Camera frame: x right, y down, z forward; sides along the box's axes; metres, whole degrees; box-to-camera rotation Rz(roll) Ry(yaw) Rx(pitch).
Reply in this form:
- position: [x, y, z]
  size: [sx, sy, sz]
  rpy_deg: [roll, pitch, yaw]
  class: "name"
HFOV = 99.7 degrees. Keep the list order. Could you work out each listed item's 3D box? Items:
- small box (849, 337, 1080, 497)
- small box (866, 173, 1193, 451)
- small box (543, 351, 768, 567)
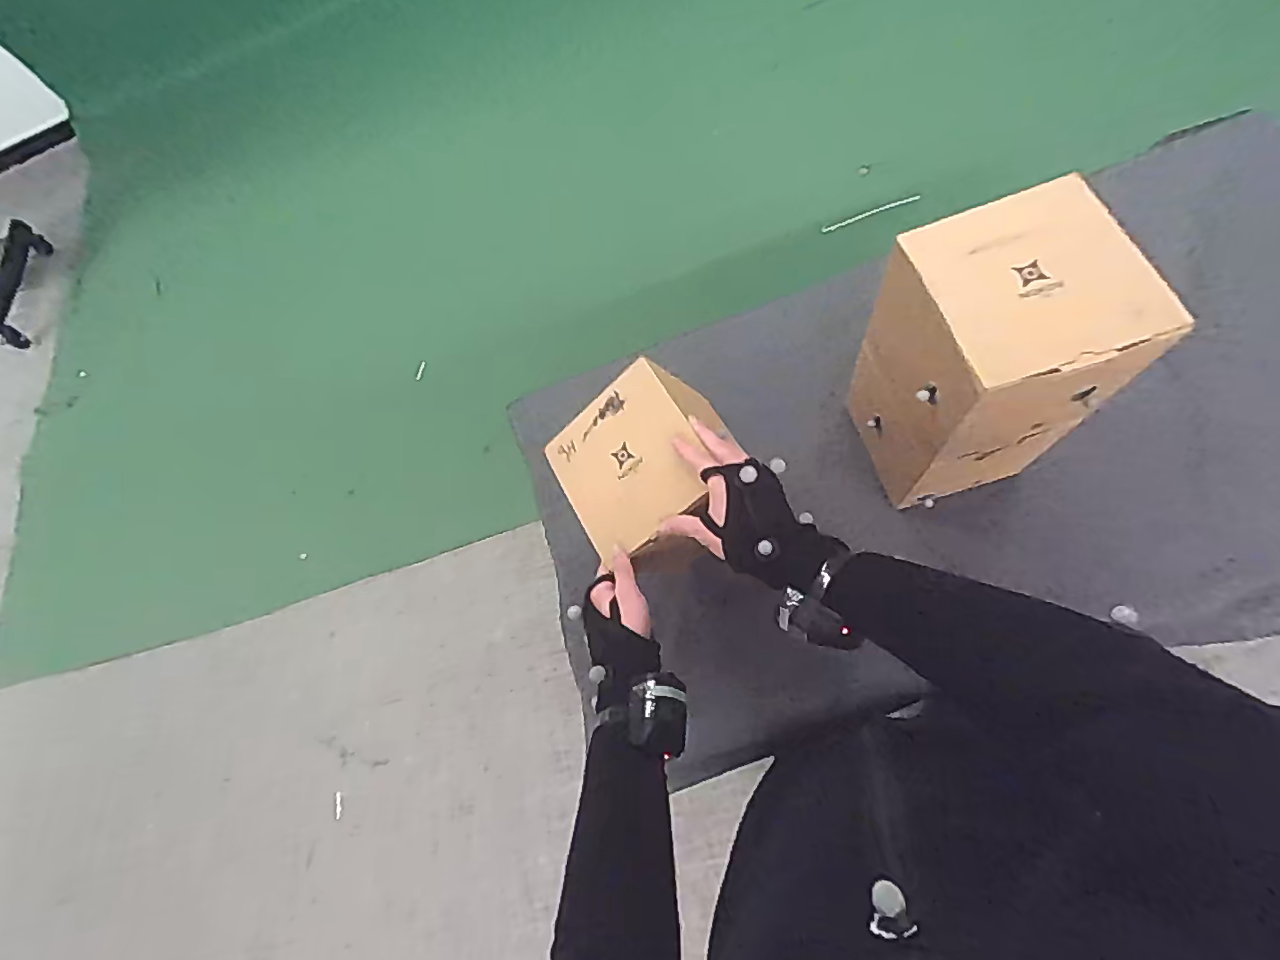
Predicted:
- position: [0.380, -0.091, 0.675]
  size: [0.168, 0.176, 0.179]
  rpy_deg: [-18, 67, 6]
  class: "small box"
- position: [0.344, -0.144, 0.526]
  size: [0.168, 0.176, 0.179]
  rpy_deg: [-18, 67, 5]
  class: "small box"
- position: [0.025, -0.015, 0.637]
  size: [0.168, 0.176, 0.179]
  rpy_deg: [-39, 66, 18]
  class: "small box"
